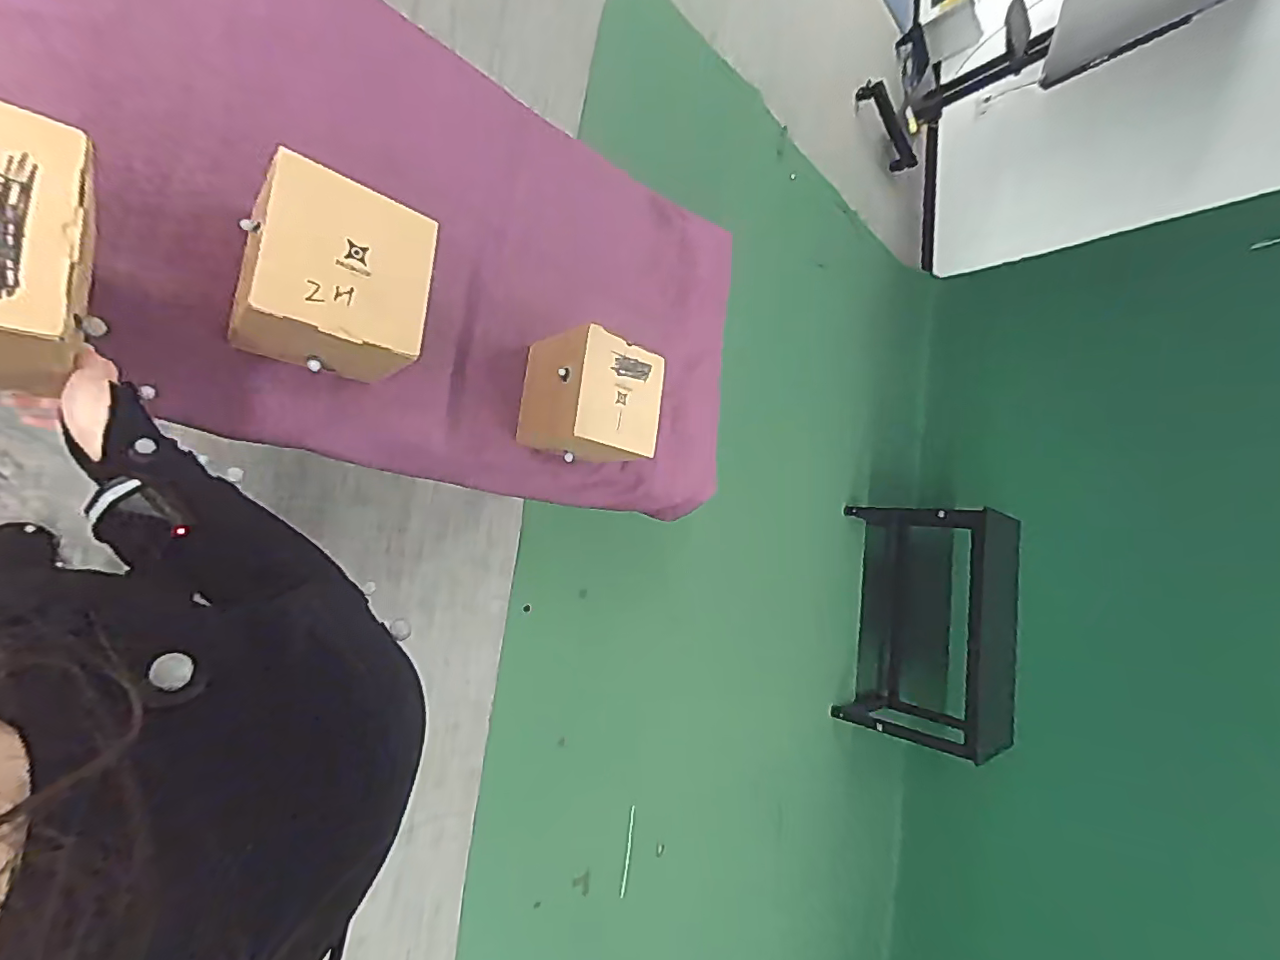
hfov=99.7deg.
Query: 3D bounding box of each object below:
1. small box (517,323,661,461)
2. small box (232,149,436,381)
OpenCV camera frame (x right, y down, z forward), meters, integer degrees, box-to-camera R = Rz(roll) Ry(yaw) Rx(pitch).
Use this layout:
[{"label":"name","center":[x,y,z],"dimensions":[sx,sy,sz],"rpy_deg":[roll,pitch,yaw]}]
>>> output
[{"label":"small box","center":[-0.087,-0.134,0.905],"dimensions":[0.168,0.176,0.179],"rpy_deg":[14,79,-42]},{"label":"small box","center":[-0.365,-0.234,0.643],"dimensions":[0.168,0.176,0.179],"rpy_deg":[12,79,-41]}]
